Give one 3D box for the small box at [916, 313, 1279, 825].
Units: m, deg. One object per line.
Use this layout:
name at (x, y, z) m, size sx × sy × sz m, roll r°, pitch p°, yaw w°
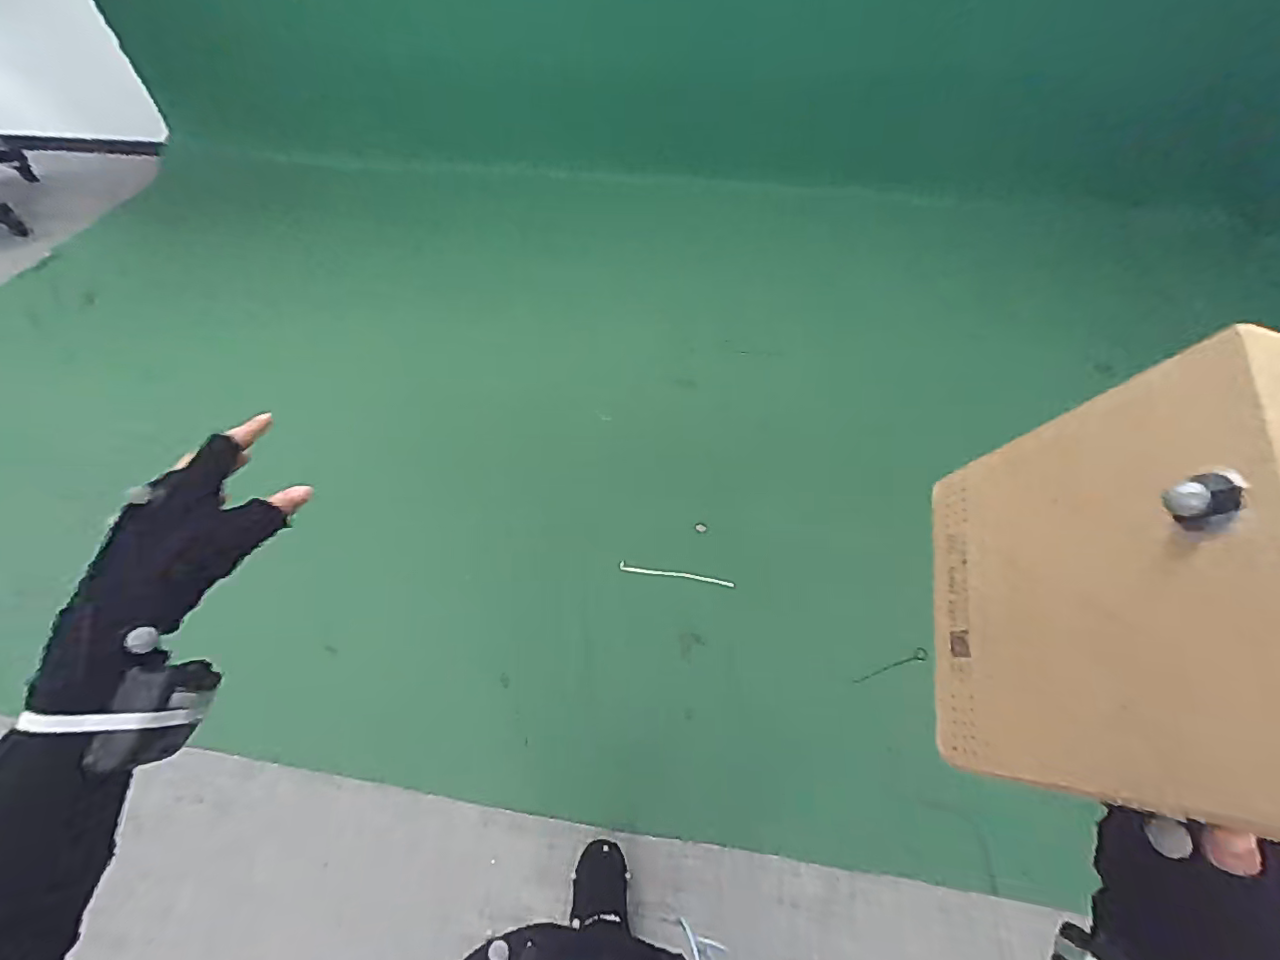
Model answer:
small box at (0.261, 0.061, 0.248) m, size 0.179 × 0.176 × 0.168 m, roll 14°, pitch 67°, yaw -6°
